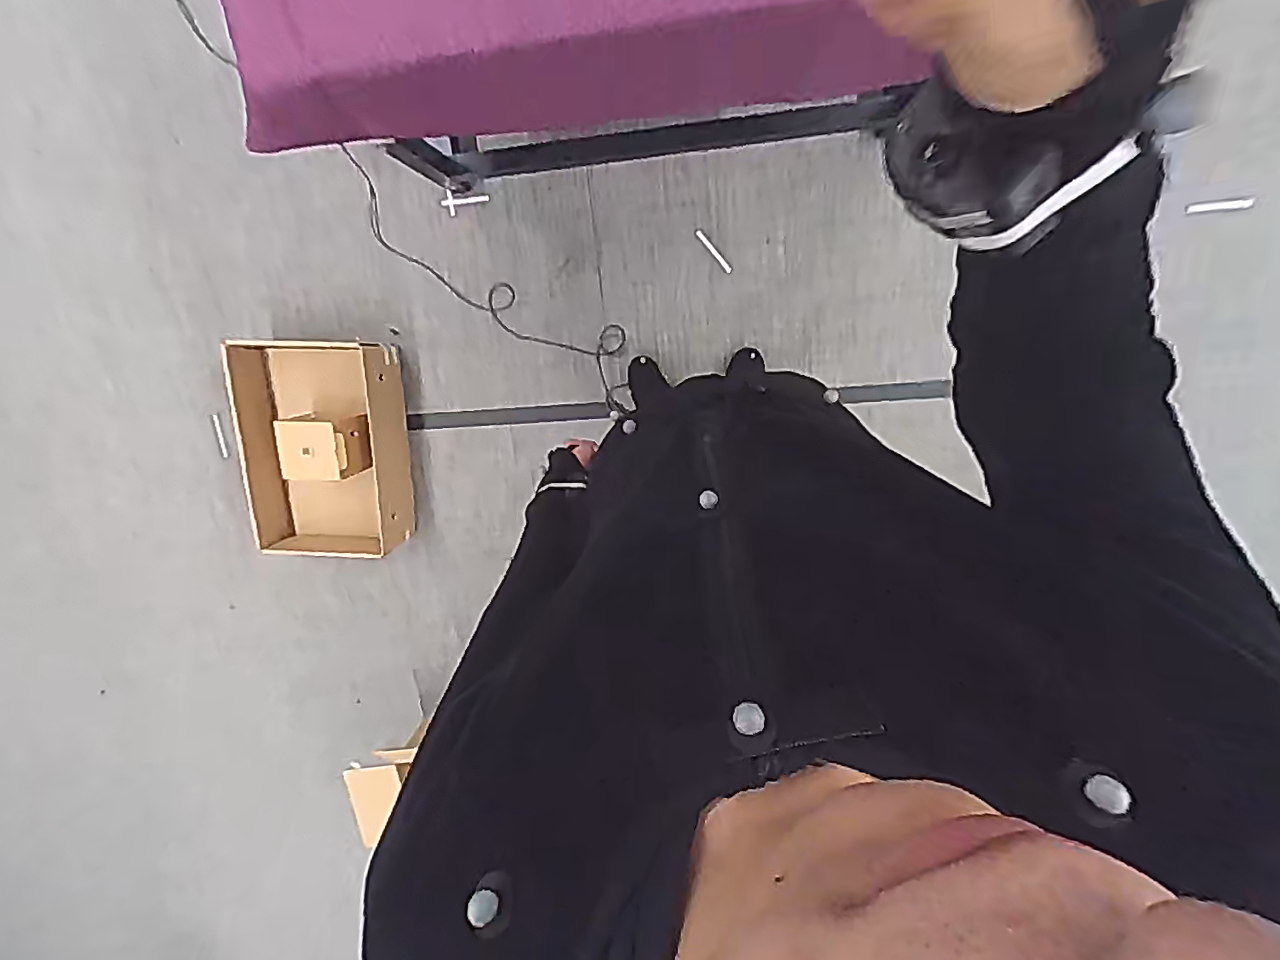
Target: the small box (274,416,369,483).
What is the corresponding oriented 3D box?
[{"bbox_3d":[-0.907,-0.093,1.560,0.179,0.176,0.168,2,104,4],"label":"small box"}]
